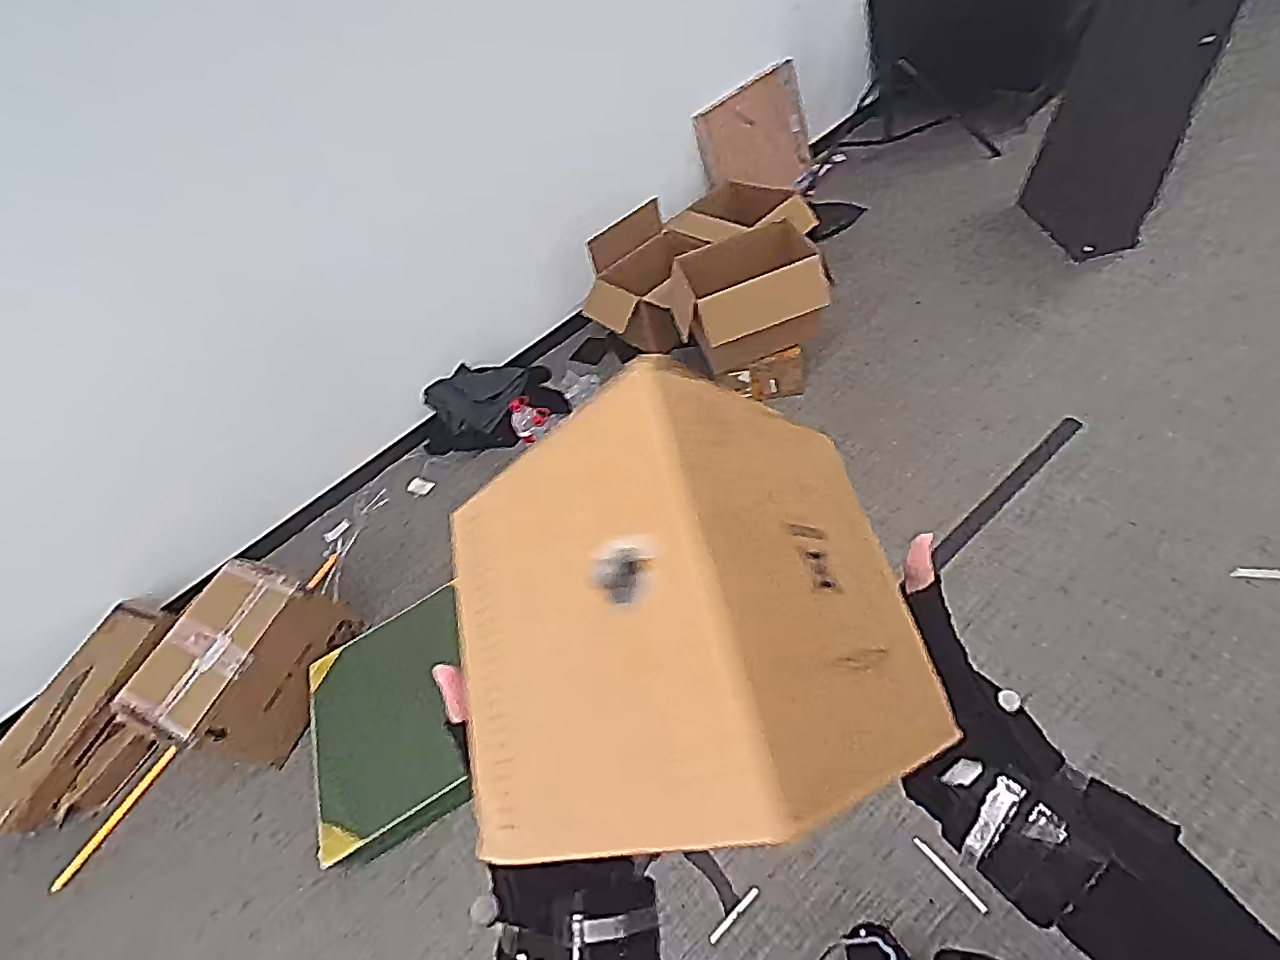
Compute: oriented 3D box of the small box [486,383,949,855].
[{"bbox_3d":[0.030,0.082,0.302,0.176,0.168,0.179,-31,59,34],"label":"small box"}]
